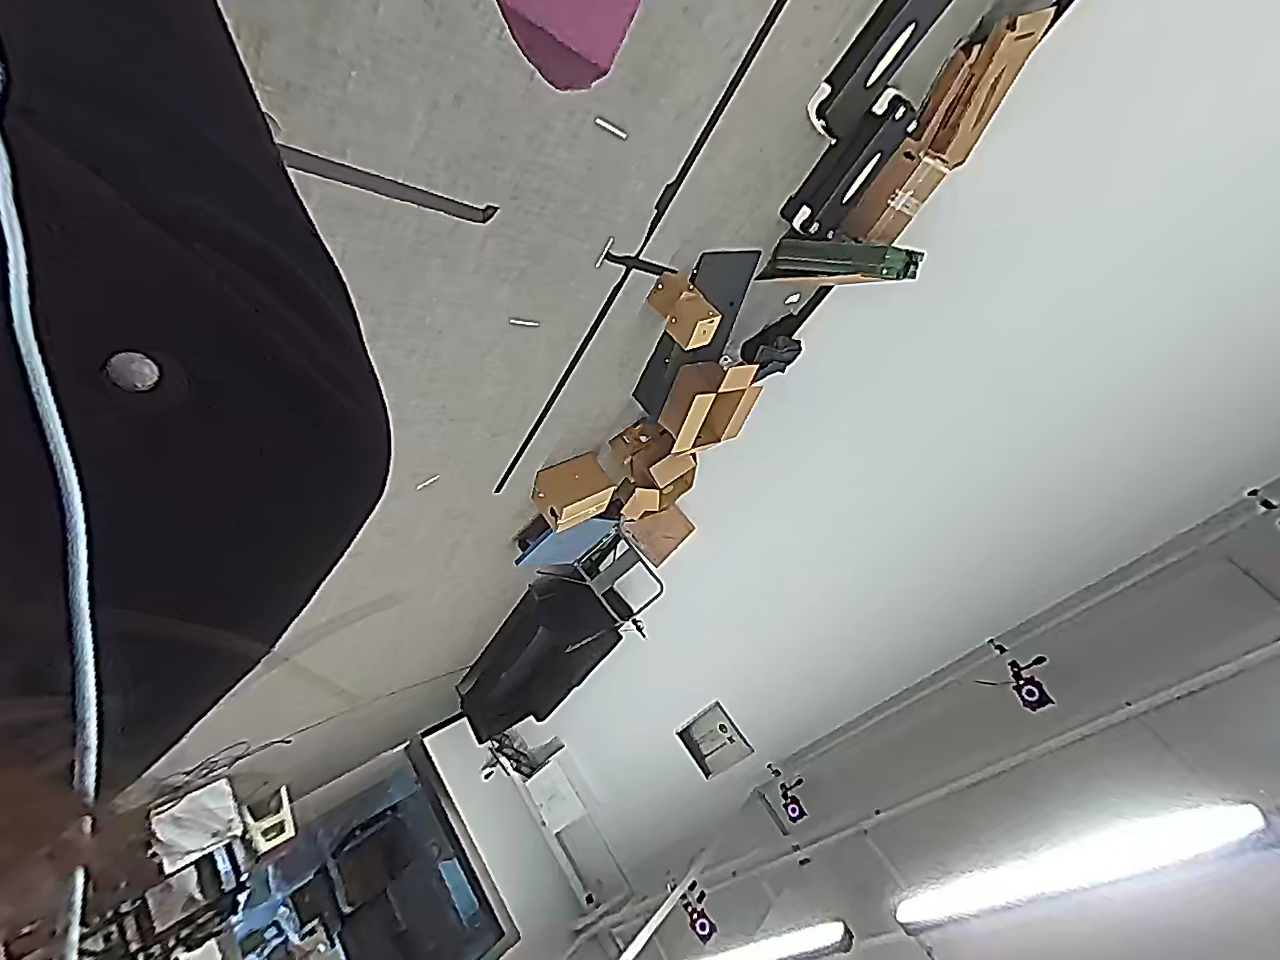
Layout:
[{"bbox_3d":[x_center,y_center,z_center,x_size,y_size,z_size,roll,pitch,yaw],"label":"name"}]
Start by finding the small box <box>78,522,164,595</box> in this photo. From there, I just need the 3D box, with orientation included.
[{"bbox_3d":[-1.790,0.264,1.860,0.168,0.176,0.179,-49,159,26],"label":"small box"}]
